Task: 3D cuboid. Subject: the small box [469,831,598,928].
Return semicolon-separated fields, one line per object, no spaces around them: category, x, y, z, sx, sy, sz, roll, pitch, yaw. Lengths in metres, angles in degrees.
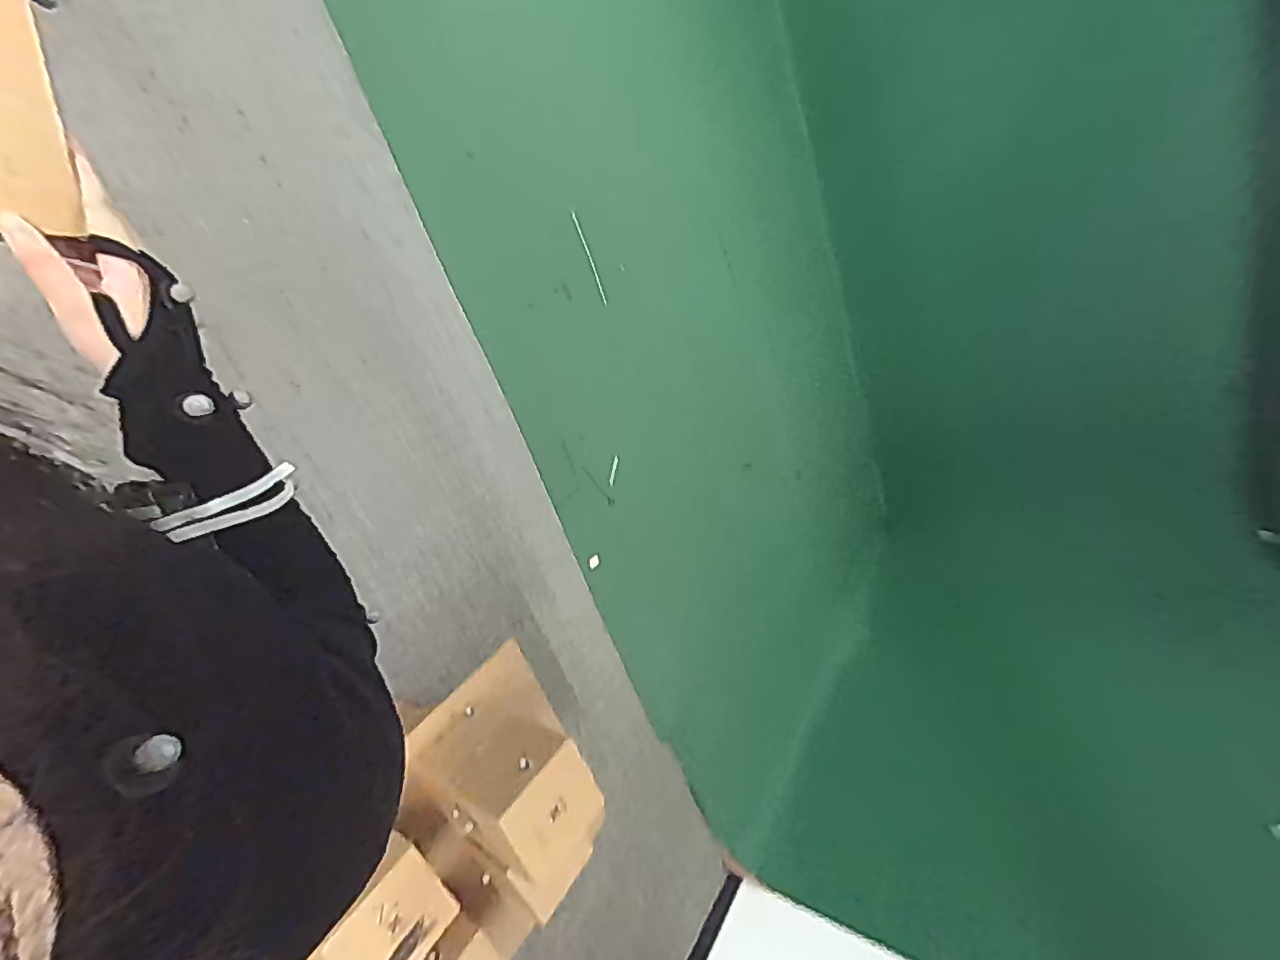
small box;-0.227;0.787;1.156;0.168;0.176;0.179;-42;118;-42

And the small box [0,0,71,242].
small box;-0.455;-0.233;0.296;0.168;0.176;0.179;-19;116;-45

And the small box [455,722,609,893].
small box;-0.193;0.569;0.969;0.179;0.176;0.168;-37;112;-42
